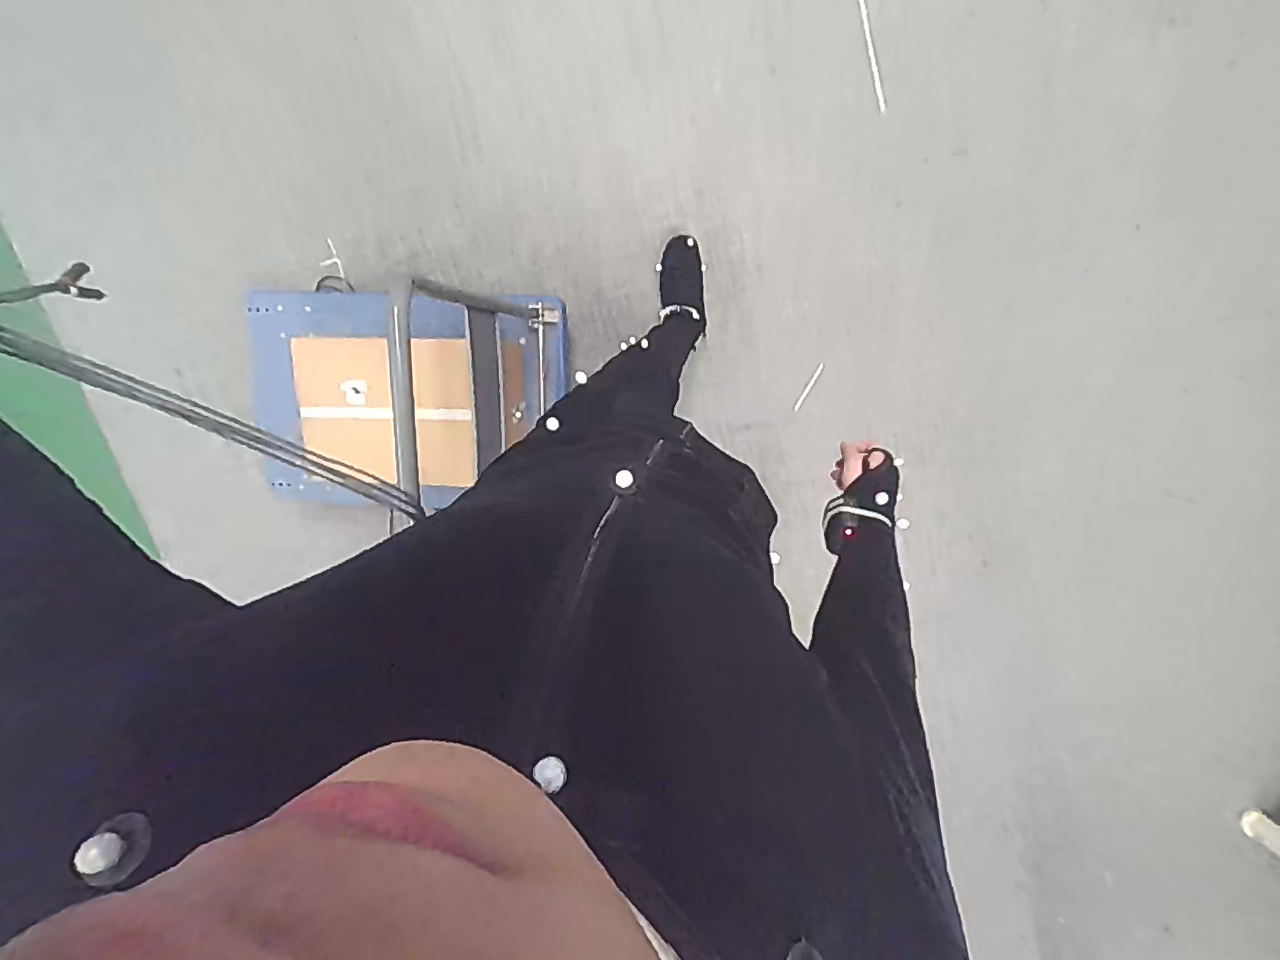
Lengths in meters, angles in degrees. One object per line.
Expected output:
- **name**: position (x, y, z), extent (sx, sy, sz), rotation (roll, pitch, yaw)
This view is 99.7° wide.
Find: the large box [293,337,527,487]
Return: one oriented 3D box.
- **large box**: position (-0.515, -0.176, 1.290), extent (0.408, 0.320, 0.320), rotation (2, 103, 6)
